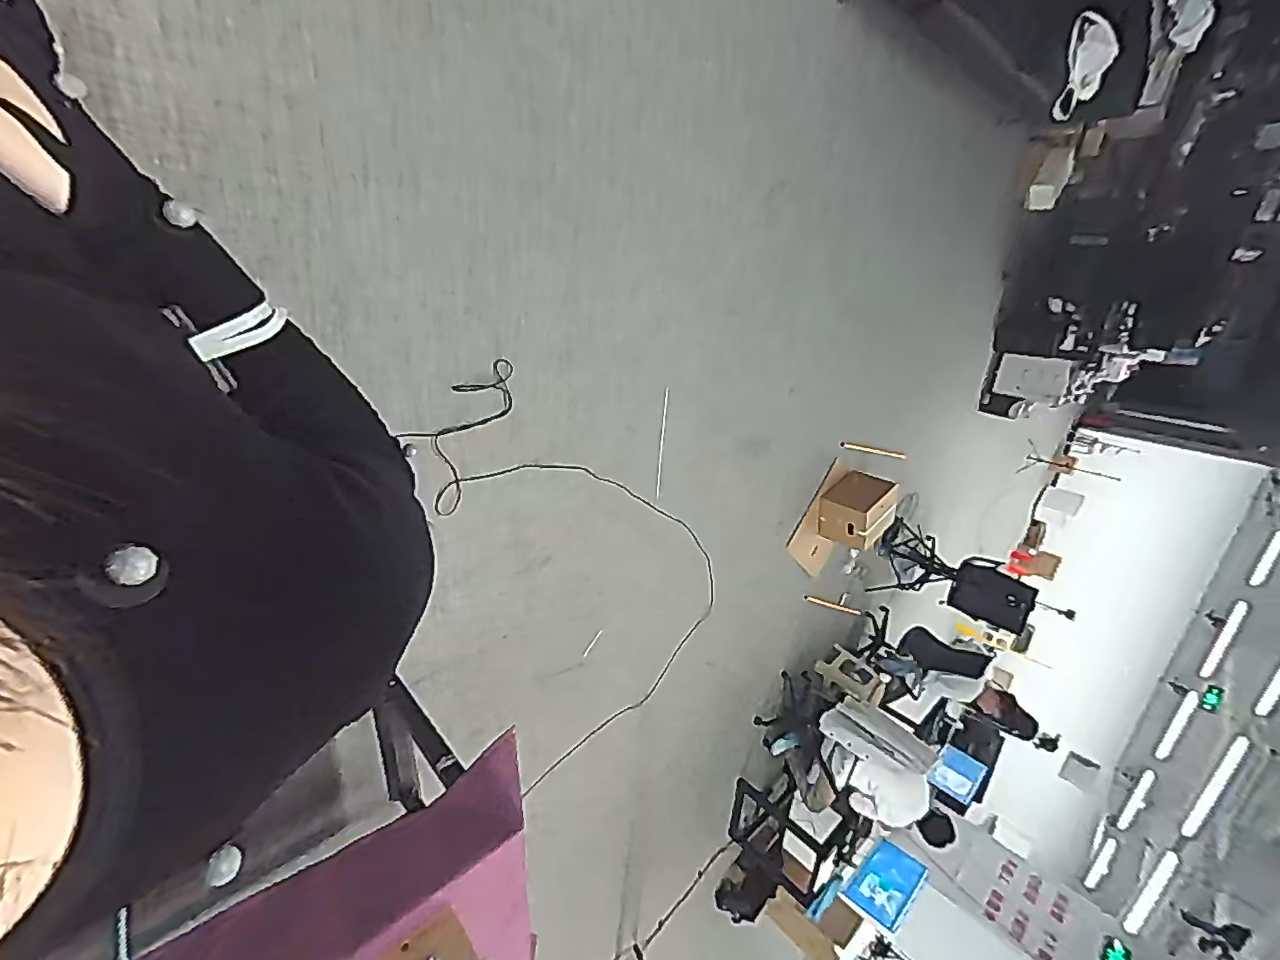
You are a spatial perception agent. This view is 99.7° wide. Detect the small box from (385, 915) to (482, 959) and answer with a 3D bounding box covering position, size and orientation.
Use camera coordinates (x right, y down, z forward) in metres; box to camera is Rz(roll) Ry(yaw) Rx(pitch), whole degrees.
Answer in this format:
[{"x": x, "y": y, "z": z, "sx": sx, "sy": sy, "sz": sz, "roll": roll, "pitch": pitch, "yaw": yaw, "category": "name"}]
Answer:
[{"x": -0.406, "y": 1.025, "z": 1.073, "sx": 0.168, "sy": 0.176, "sz": 0.179, "roll": -17, "pitch": 119, "yaw": -39, "category": "small box"}]
